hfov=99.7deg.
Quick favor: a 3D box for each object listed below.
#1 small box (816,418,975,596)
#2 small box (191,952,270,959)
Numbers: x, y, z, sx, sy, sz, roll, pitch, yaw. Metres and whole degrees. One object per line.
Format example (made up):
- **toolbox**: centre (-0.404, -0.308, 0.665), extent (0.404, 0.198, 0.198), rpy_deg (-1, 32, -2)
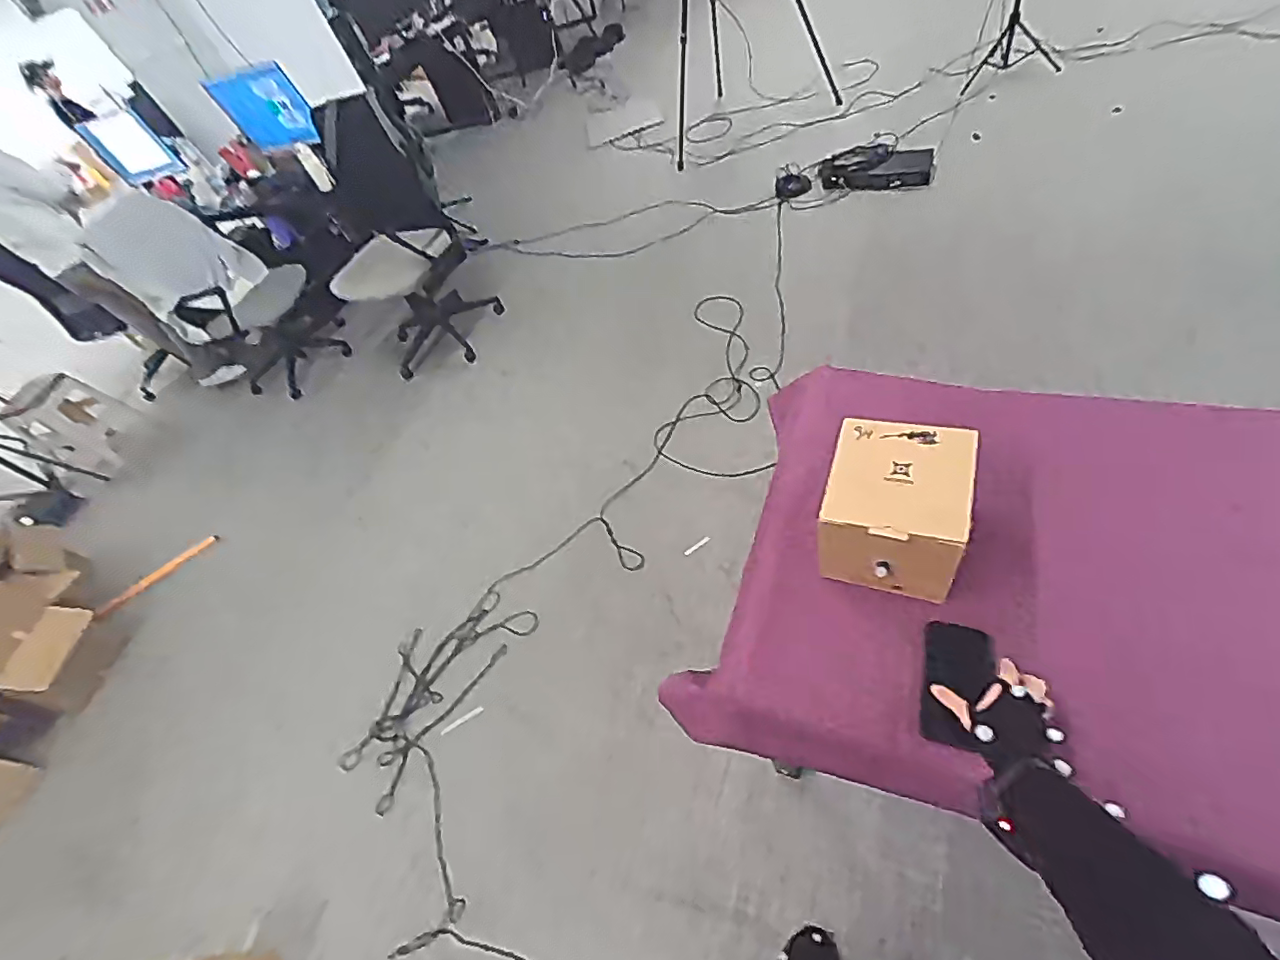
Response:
- **small box**: centre (0.350, 0.039, 0.750), extent (0.168, 0.176, 0.179), rpy_deg (10, 59, 26)
- **small box**: centre (-0.976, 1.246, 1.274), extent (0.179, 0.176, 0.168), rpy_deg (0, 55, 21)
